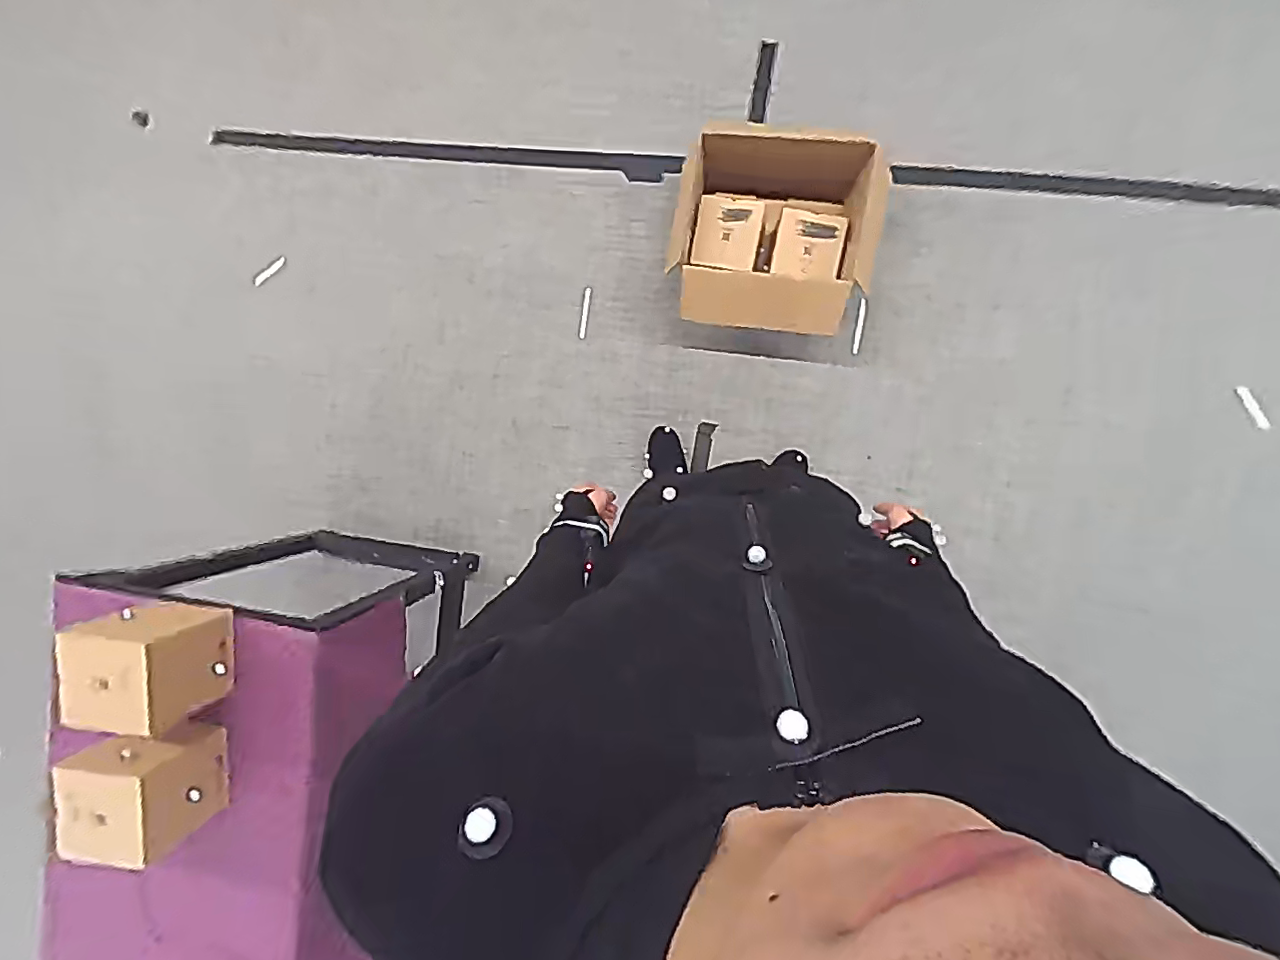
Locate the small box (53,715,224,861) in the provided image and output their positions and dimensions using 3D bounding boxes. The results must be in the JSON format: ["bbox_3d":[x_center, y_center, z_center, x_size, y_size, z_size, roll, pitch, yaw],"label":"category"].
[{"bbox_3d":[-0.918,0.560,1.006,0.179,0.176,0.168,3,95,8],"label":"small box"}]

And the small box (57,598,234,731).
[{"bbox_3d":[-0.889,0.324,0.984,0.179,0.176,0.168,4,97,8],"label":"small box"}]
